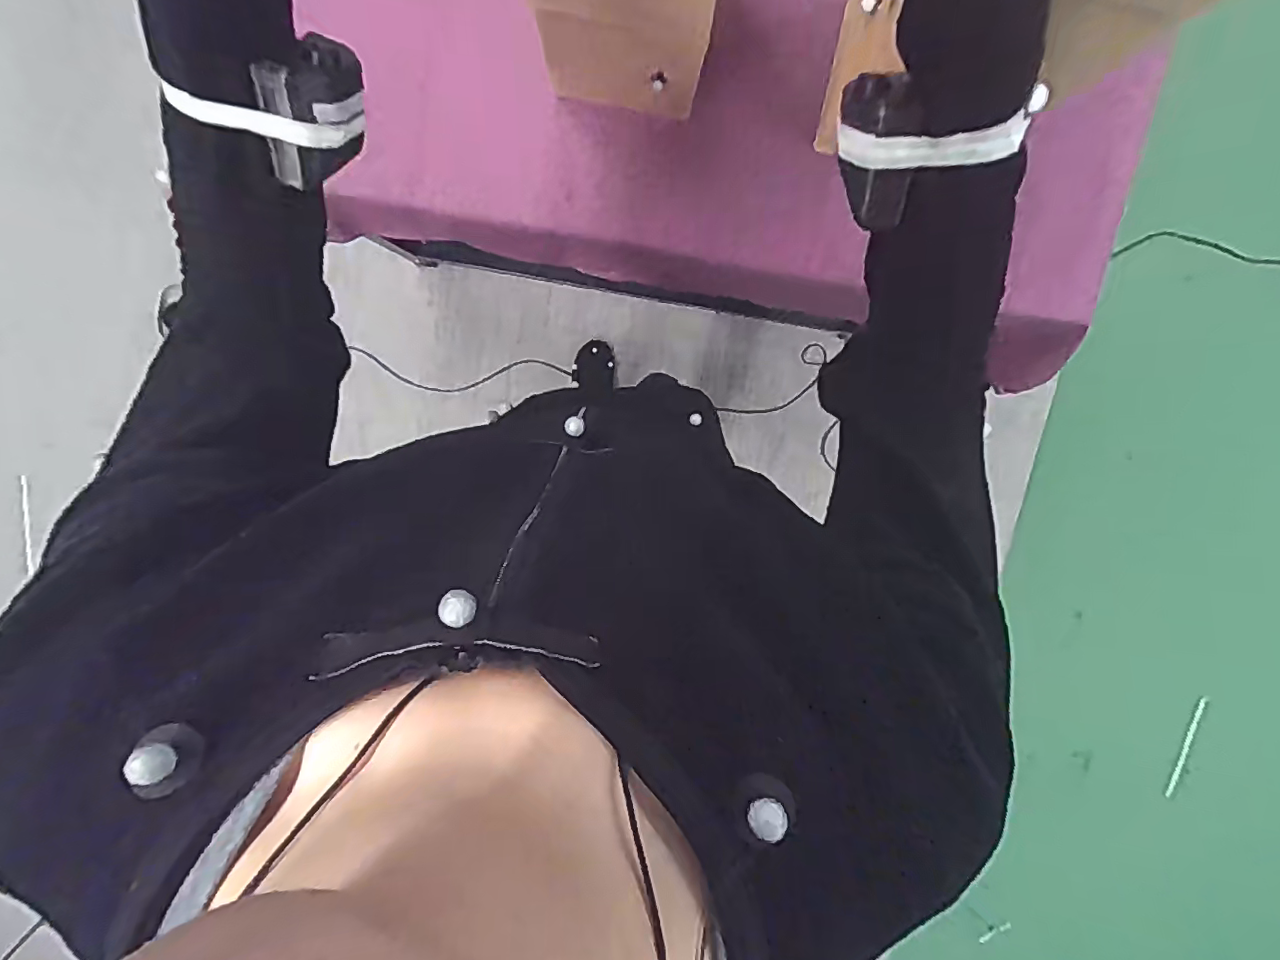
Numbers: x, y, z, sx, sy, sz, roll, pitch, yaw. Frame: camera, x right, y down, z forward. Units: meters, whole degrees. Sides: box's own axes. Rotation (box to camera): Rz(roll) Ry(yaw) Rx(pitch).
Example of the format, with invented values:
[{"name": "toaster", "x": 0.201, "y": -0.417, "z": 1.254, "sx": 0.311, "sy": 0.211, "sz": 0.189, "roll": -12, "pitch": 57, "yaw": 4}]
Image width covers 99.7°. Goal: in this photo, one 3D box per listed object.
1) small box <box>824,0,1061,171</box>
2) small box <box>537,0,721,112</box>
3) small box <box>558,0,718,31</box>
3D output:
[{"name": "small box", "x": 0.326, "y": -0.480, "z": 0.609, "sx": 0.168, "sy": 0.176, "sz": 0.179, "roll": 10, "pitch": 100, "yaw": -4}, {"name": "small box", "x": -0.004, "y": -0.534, "z": 0.584, "sx": 0.179, "sy": 0.176, "sz": 0.168, "roll": 9, "pitch": 99, "yaw": -4}, {"name": "small box", "x": -0.001, "y": -0.502, "z": 0.422, "sx": 0.179, "sy": 0.176, "sz": 0.168, "roll": 9, "pitch": 100, "yaw": -4}]
